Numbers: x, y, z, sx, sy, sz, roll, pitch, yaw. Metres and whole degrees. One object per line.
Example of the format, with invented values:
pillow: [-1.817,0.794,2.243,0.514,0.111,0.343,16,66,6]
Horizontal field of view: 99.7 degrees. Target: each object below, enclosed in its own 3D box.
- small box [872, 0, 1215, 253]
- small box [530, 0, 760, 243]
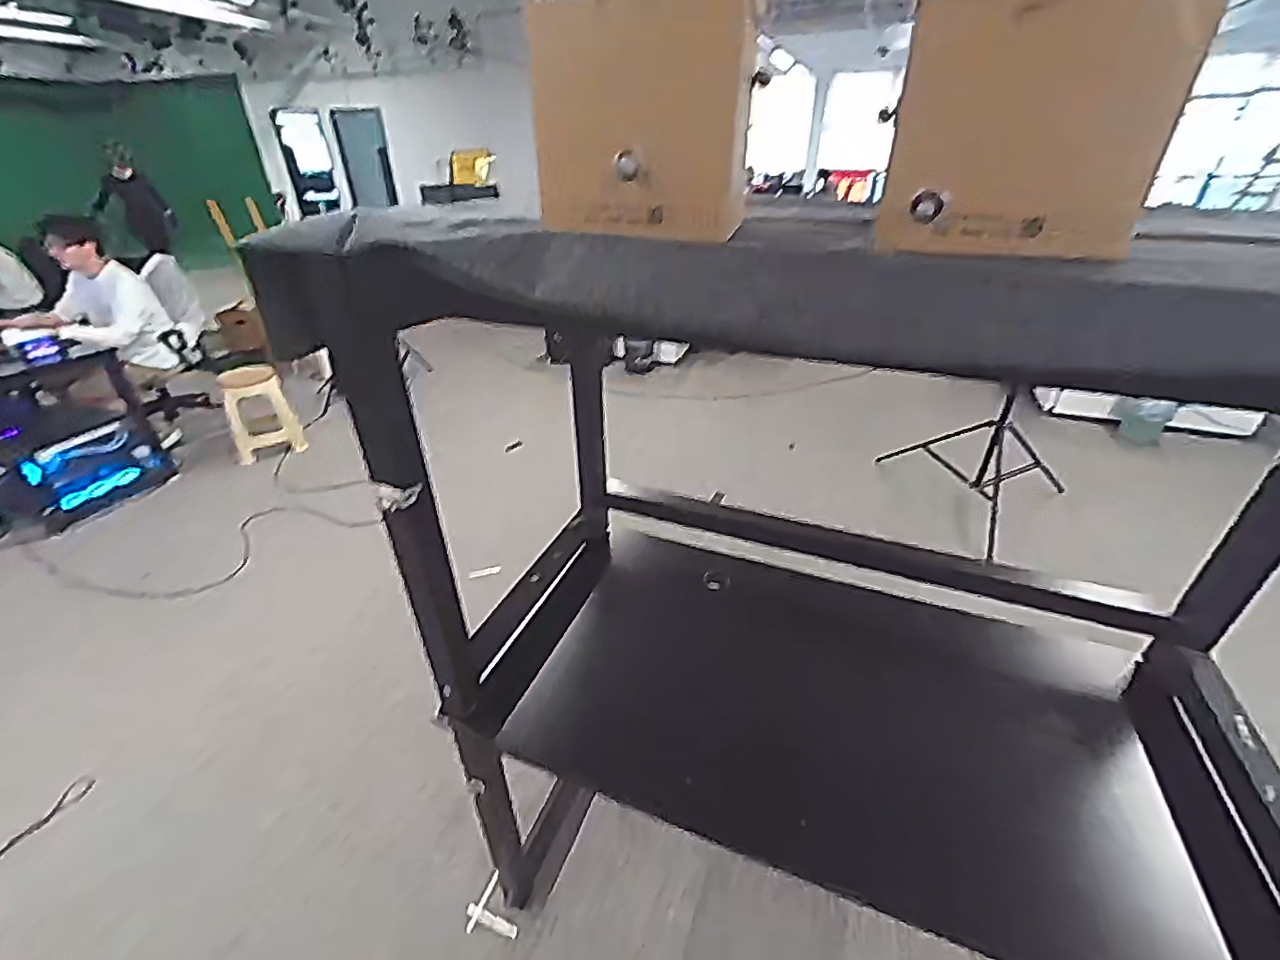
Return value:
small box: [0.287,-0.278,0.423,0.168,0.176,0.179,11,31,18]
small box: [0.014,-0.321,0.496,0.168,0.176,0.179,6,31,12]
